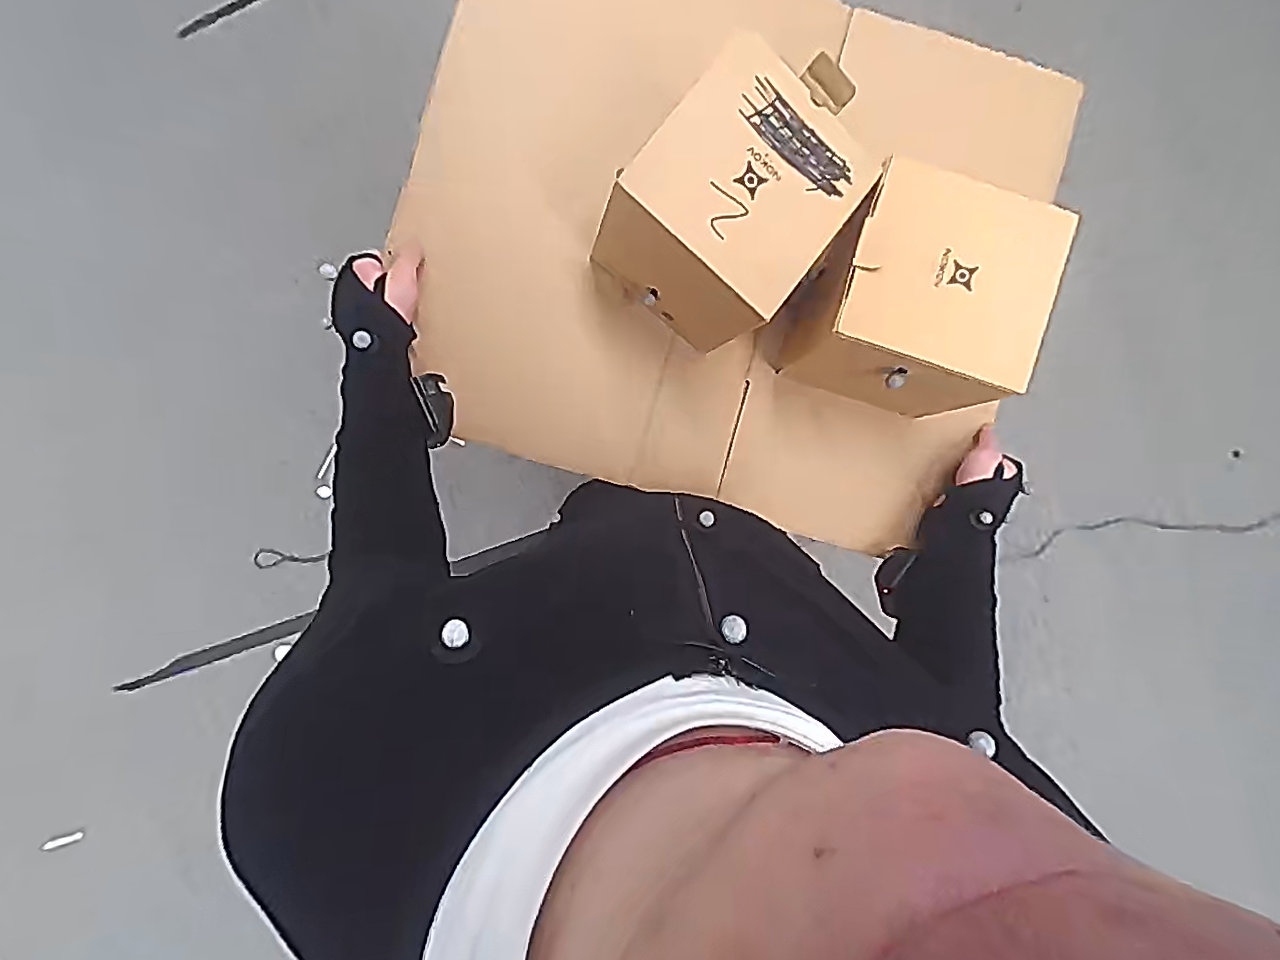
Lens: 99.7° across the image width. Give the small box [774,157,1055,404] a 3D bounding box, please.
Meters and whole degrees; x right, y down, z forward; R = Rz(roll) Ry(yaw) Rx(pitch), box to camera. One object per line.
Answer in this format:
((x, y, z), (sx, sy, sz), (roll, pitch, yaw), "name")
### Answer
((0.263, -0.184, 0.558), (0.179, 0.176, 0.168), (17, 89, -2), "small box")
